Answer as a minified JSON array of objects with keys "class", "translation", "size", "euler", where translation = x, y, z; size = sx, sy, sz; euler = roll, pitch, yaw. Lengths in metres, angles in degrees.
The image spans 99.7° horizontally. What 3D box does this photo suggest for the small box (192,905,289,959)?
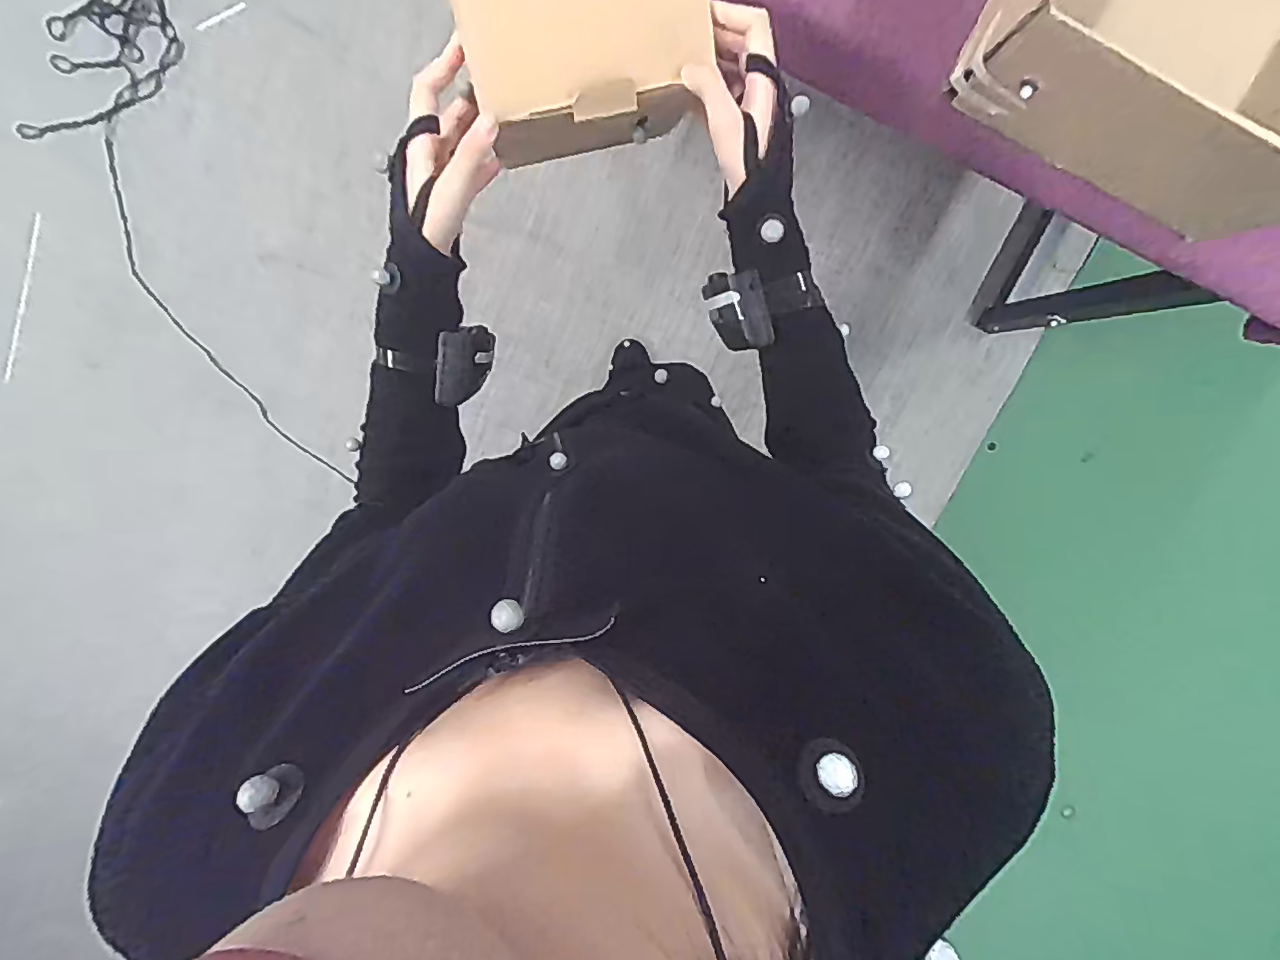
[{"class":"small box","translation":[-1.018,1.215,1.330],"size":[0.168,0.176,0.179],"euler":[43,99,-6]}]
